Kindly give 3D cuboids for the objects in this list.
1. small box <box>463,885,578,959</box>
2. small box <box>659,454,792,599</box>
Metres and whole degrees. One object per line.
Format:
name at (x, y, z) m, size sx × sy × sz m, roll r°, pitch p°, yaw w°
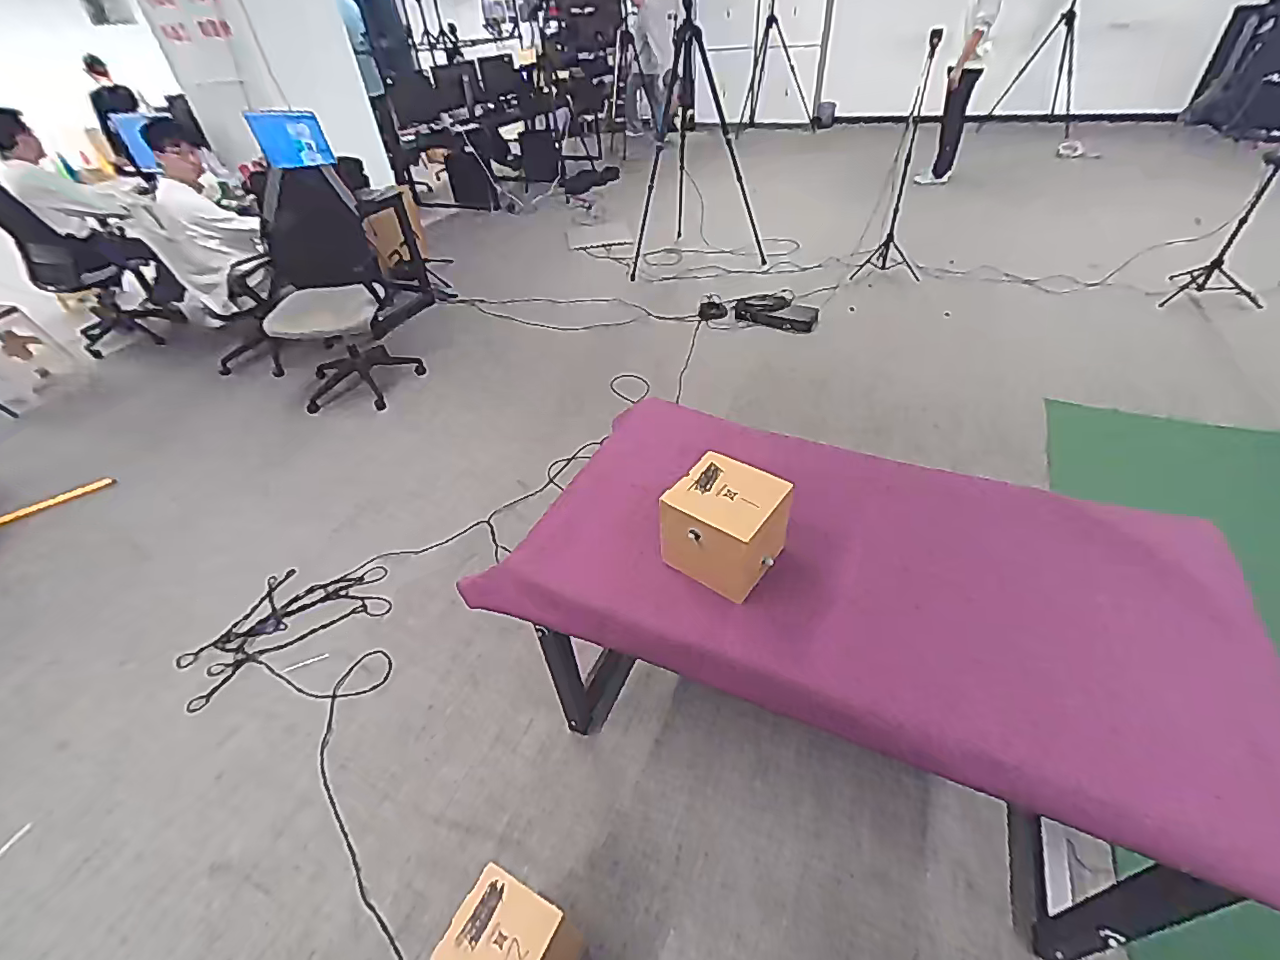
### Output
small box at (-0.242, 0.982, 1.101) m, size 0.168 × 0.176 × 0.179 m, roll 18°, pitch 47°, yaw 23°
small box at (0.151, 0.085, 0.986) m, size 0.179 × 0.176 × 0.168 m, roll 26°, pitch 50°, yaw 29°
